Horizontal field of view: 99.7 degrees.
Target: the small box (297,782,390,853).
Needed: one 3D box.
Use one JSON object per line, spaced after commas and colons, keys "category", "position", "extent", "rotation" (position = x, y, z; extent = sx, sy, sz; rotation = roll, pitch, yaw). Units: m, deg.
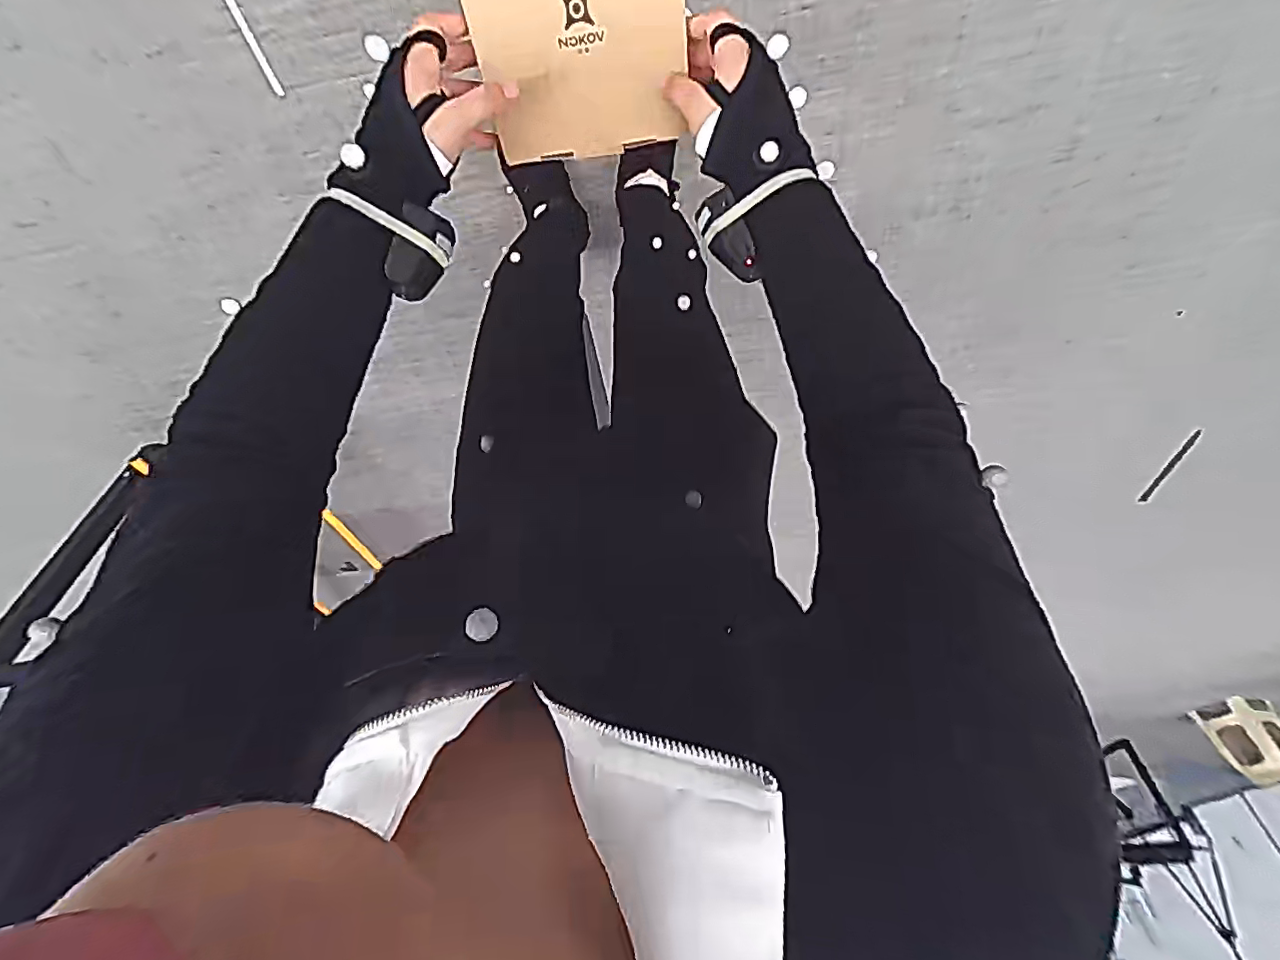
{"category": "small box", "position": [-0.919, 1.062, 1.694], "extent": [0.179, 0.176, 0.168], "rotation": [-6, 140, 3]}
